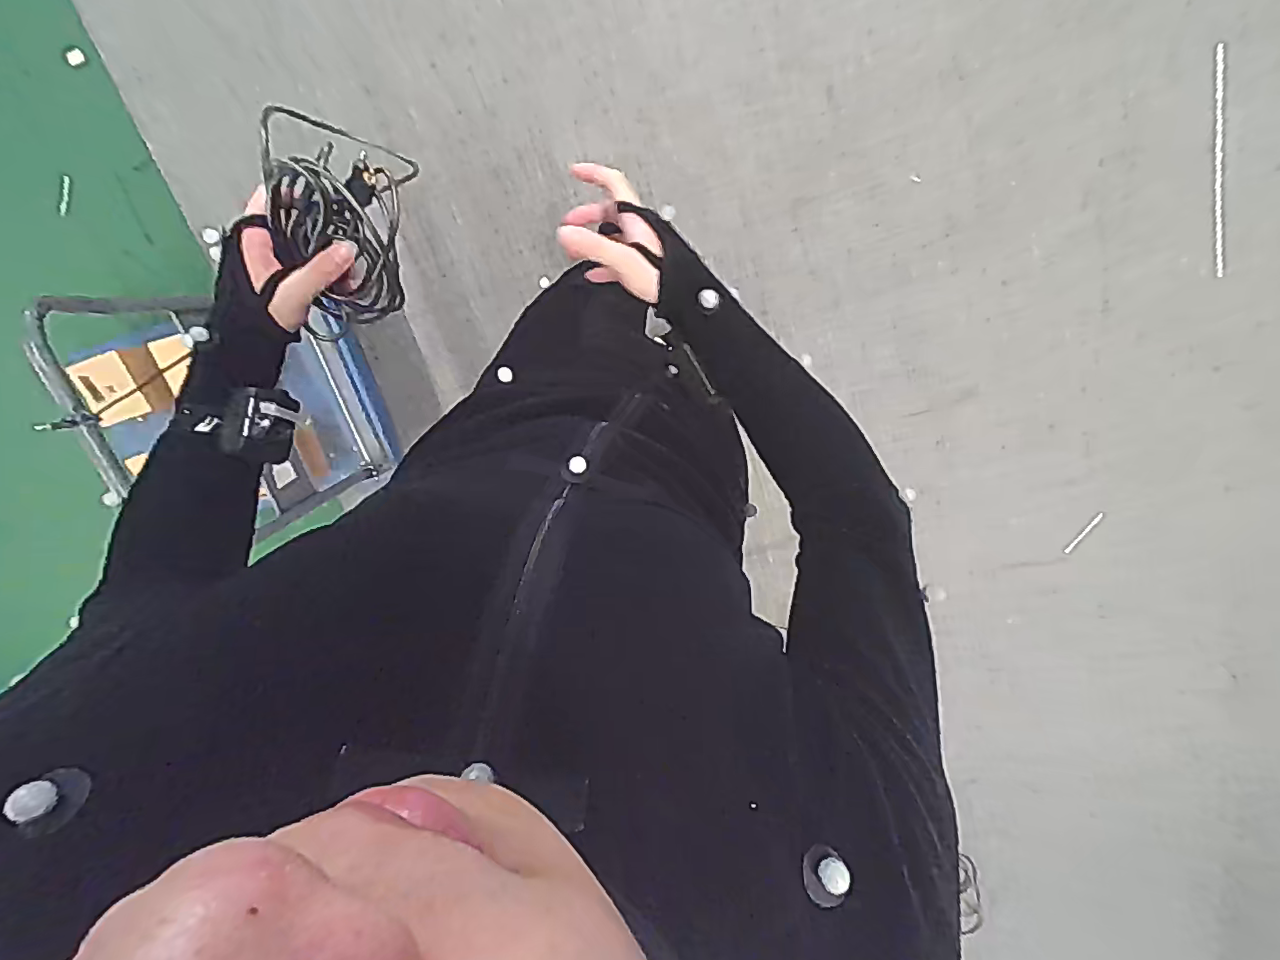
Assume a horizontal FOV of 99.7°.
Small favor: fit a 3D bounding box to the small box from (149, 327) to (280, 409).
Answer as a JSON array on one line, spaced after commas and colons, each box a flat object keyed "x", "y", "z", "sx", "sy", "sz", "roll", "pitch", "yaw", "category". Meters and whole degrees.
[{"x": -1.103, "y": -0.296, "z": 1.418, "sx": 0.179, "sy": 0.176, "sz": 0.168, "roll": -11, "pitch": 109, "yaw": 11, "category": "small box"}]

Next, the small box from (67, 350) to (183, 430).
[{"x": -1.359, "y": -0.251, "z": 1.468, "sx": 0.179, "sy": 0.176, "sz": 0.168, "roll": -14, "pitch": 109, "yaw": 12, "category": "small box"}]

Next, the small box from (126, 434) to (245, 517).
[{"x": -1.282, "y": -0.018, "z": 1.547, "sx": 0.179, "sy": 0.176, "sz": 0.168, "roll": -15, "pitch": 107, "yaw": 13, "category": "small box"}]
